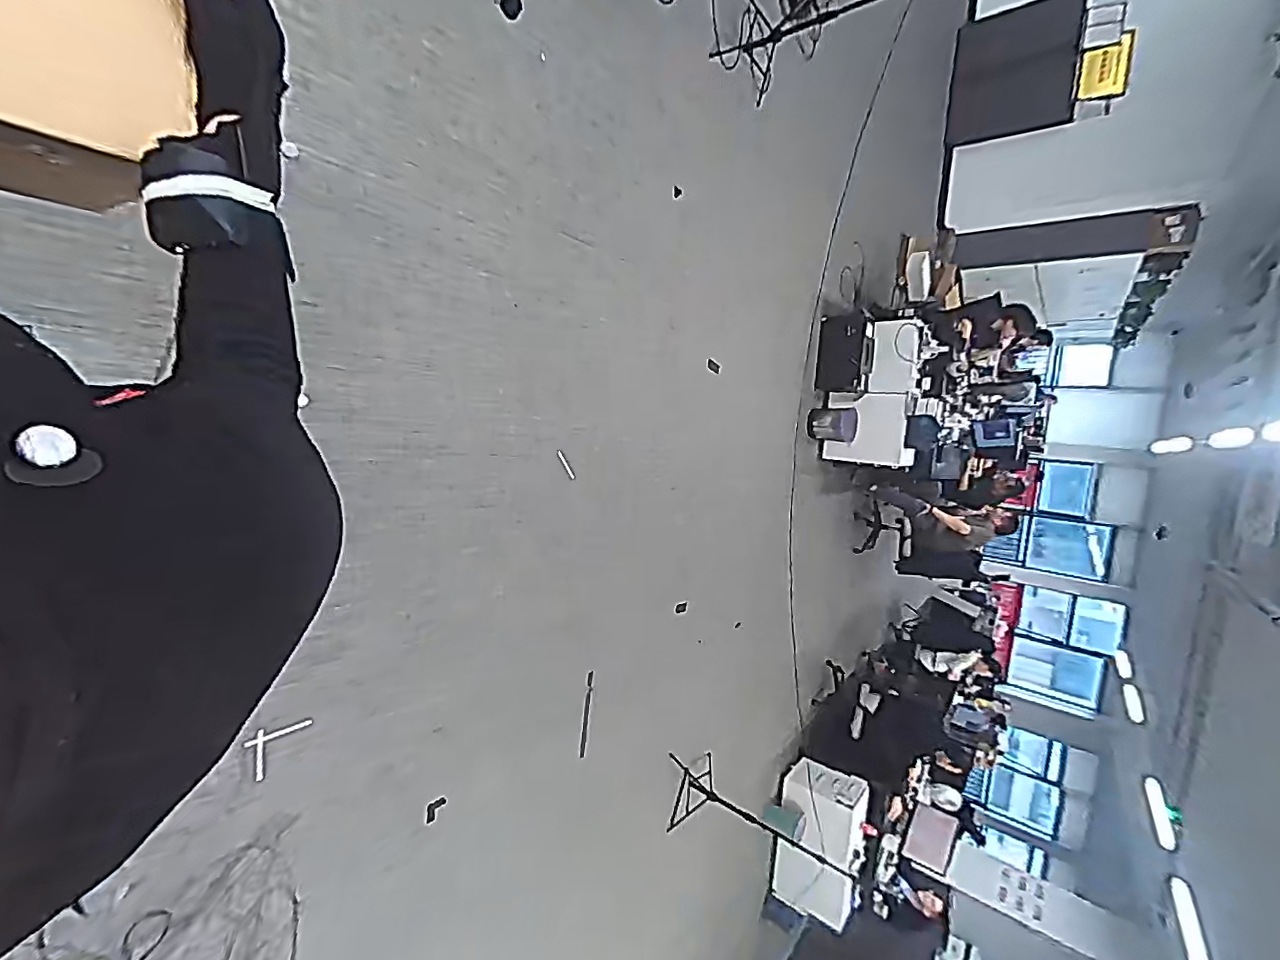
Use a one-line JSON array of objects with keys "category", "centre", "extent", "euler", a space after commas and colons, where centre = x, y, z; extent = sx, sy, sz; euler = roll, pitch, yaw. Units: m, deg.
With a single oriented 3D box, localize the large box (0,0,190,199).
[{"category": "large box", "centre": [-0.564, -0.402, 0.311], "extent": [0.408, 0.320, 0.320], "euler": [-6, 108, -54]}]
